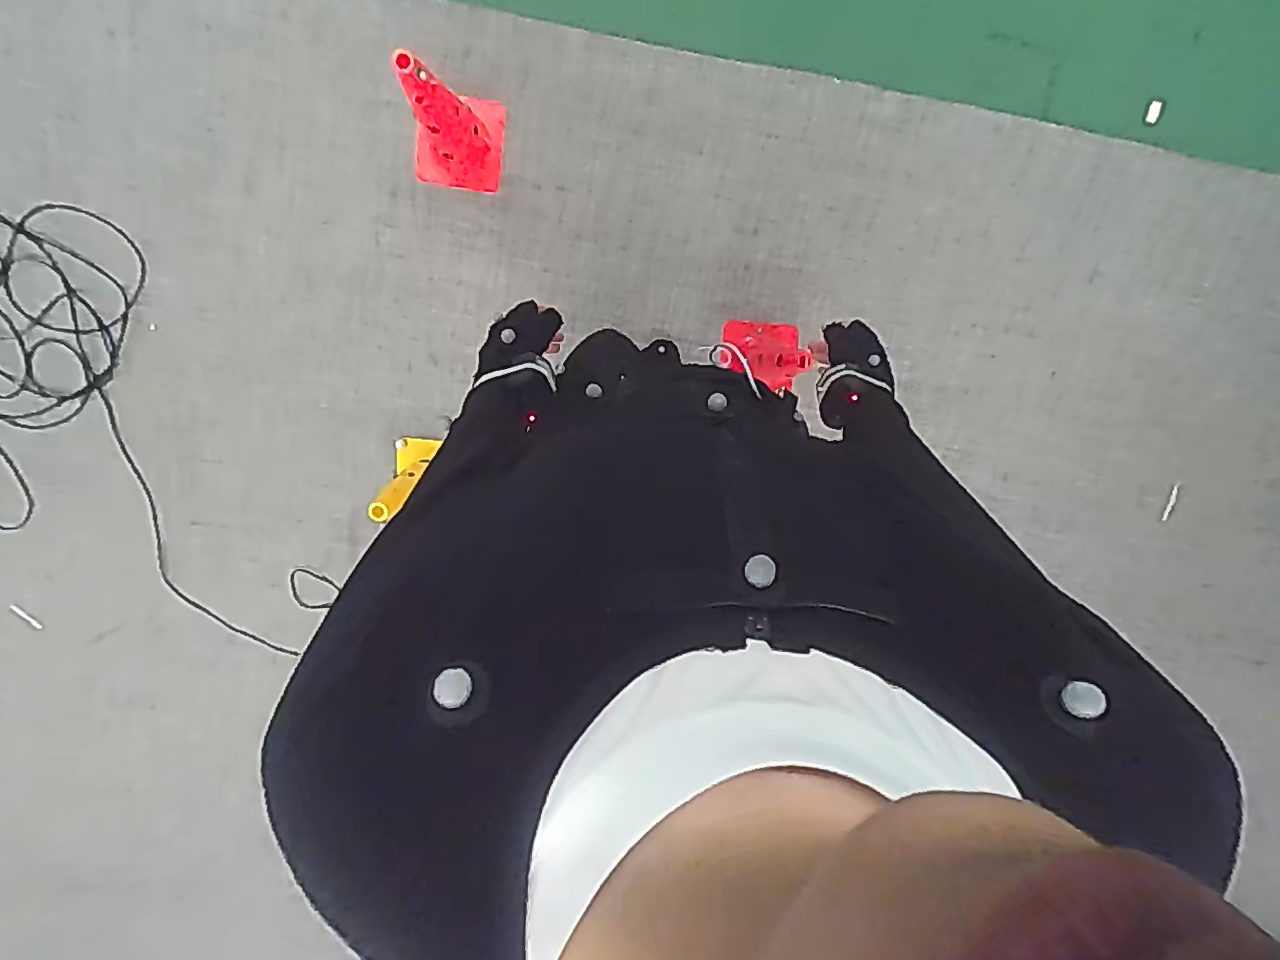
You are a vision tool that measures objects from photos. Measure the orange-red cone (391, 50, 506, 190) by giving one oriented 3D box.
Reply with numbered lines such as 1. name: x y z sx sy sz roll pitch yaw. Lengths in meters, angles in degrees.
1. orange-red cone: -0.418 -0.767 1.113 0.198 0.360 0.199 9 103 -3

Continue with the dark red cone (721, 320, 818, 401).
1. dark red cone: 0.319 -0.274 1.227 0.202 0.394 0.201 3 101 -3
